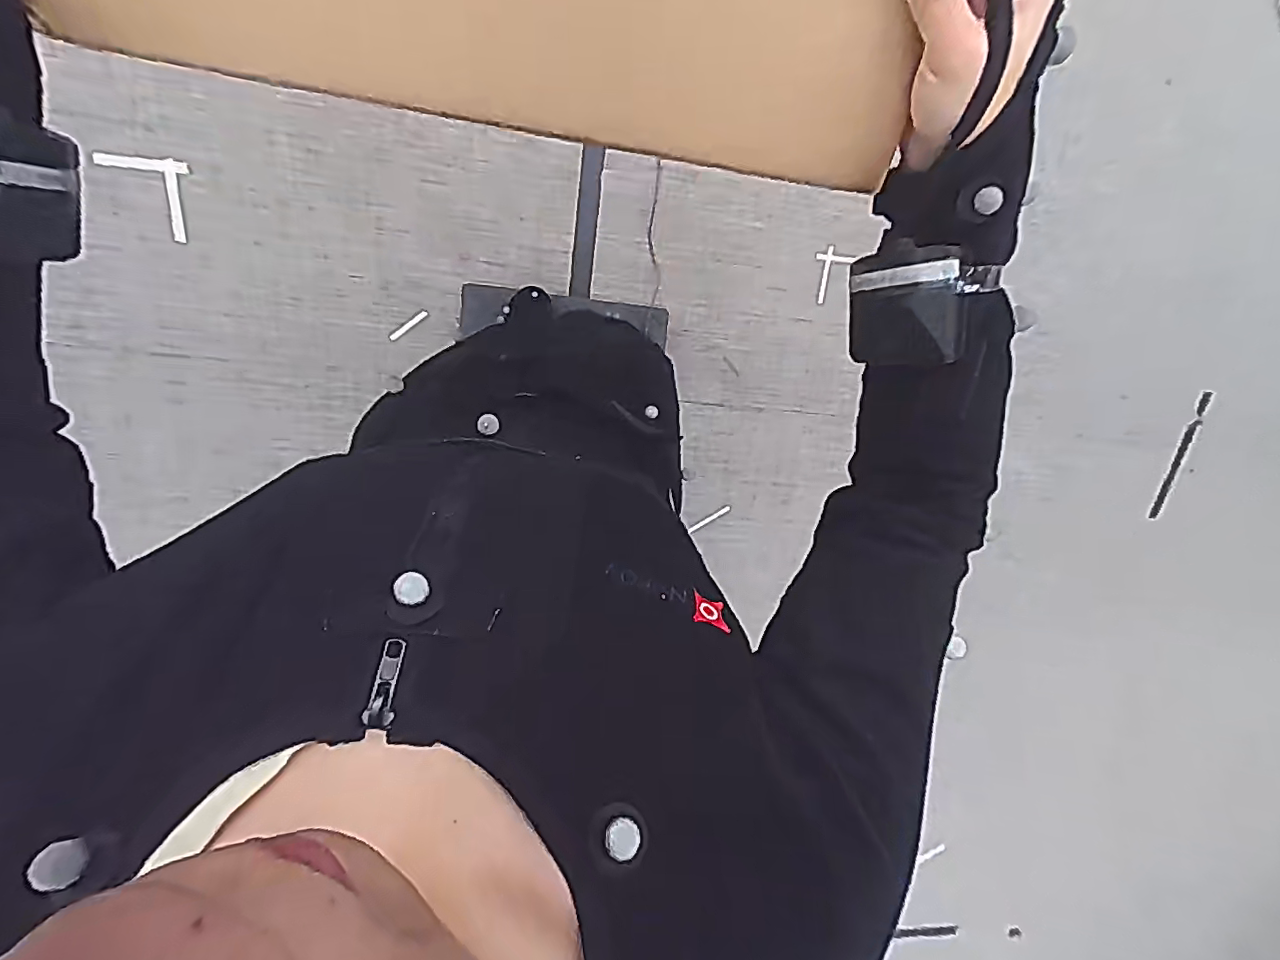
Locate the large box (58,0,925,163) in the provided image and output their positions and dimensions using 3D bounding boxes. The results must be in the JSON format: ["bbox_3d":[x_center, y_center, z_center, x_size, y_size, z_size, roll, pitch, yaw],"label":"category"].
[{"bbox_3d":[-0.058,-0.401,0.313,0.408,0.320,0.320,4,124,-11],"label":"large box"}]

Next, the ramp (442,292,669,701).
[{"bbox_3d":[-0.214,0.068,1.345,0.509,0.206,0.991,3,106,-7],"label":"ramp"}]
